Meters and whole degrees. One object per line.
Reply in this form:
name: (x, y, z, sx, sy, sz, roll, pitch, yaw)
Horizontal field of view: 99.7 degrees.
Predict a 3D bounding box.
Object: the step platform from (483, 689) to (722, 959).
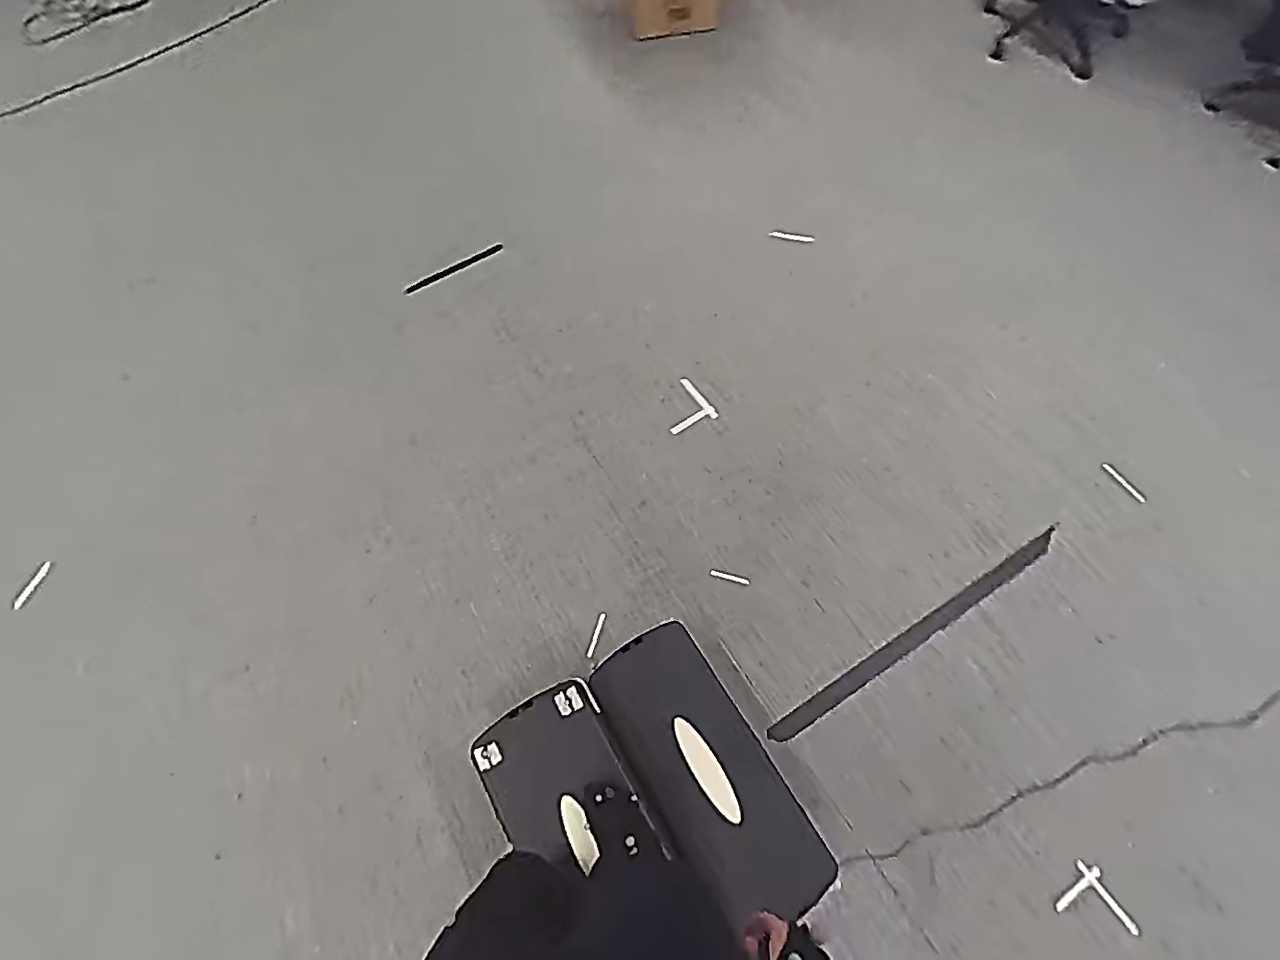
step platform: (-0.086, 0.817, 1.158, 0.286, 0.204, 0.684, -26, 66, -11)
